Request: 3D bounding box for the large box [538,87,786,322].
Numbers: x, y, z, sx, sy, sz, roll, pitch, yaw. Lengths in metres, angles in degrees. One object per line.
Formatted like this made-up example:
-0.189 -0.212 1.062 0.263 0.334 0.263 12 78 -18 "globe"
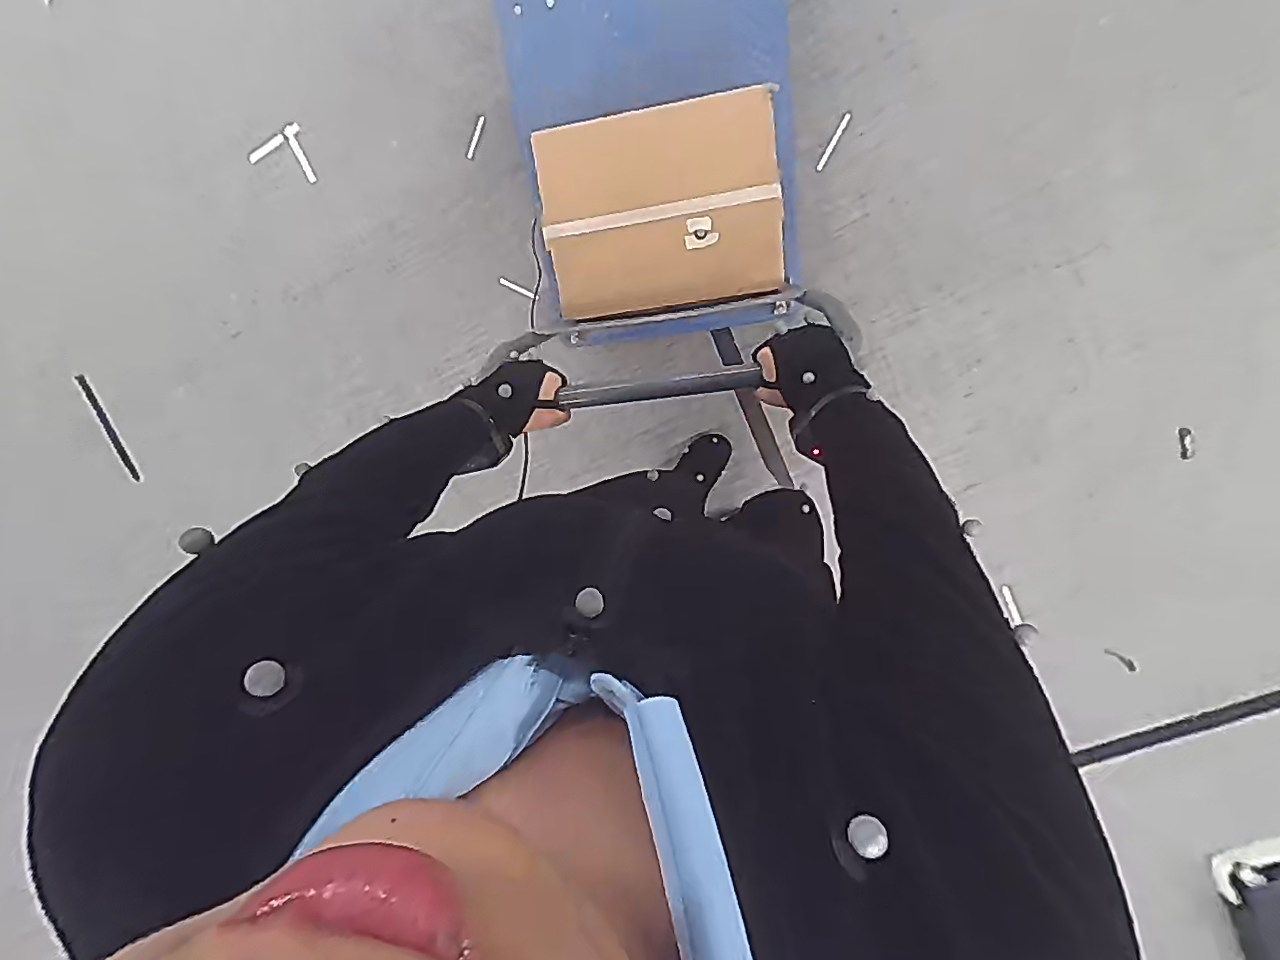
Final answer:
0.054 -0.512 1.086 0.408 0.320 0.320 -7 108 8 "large box"
